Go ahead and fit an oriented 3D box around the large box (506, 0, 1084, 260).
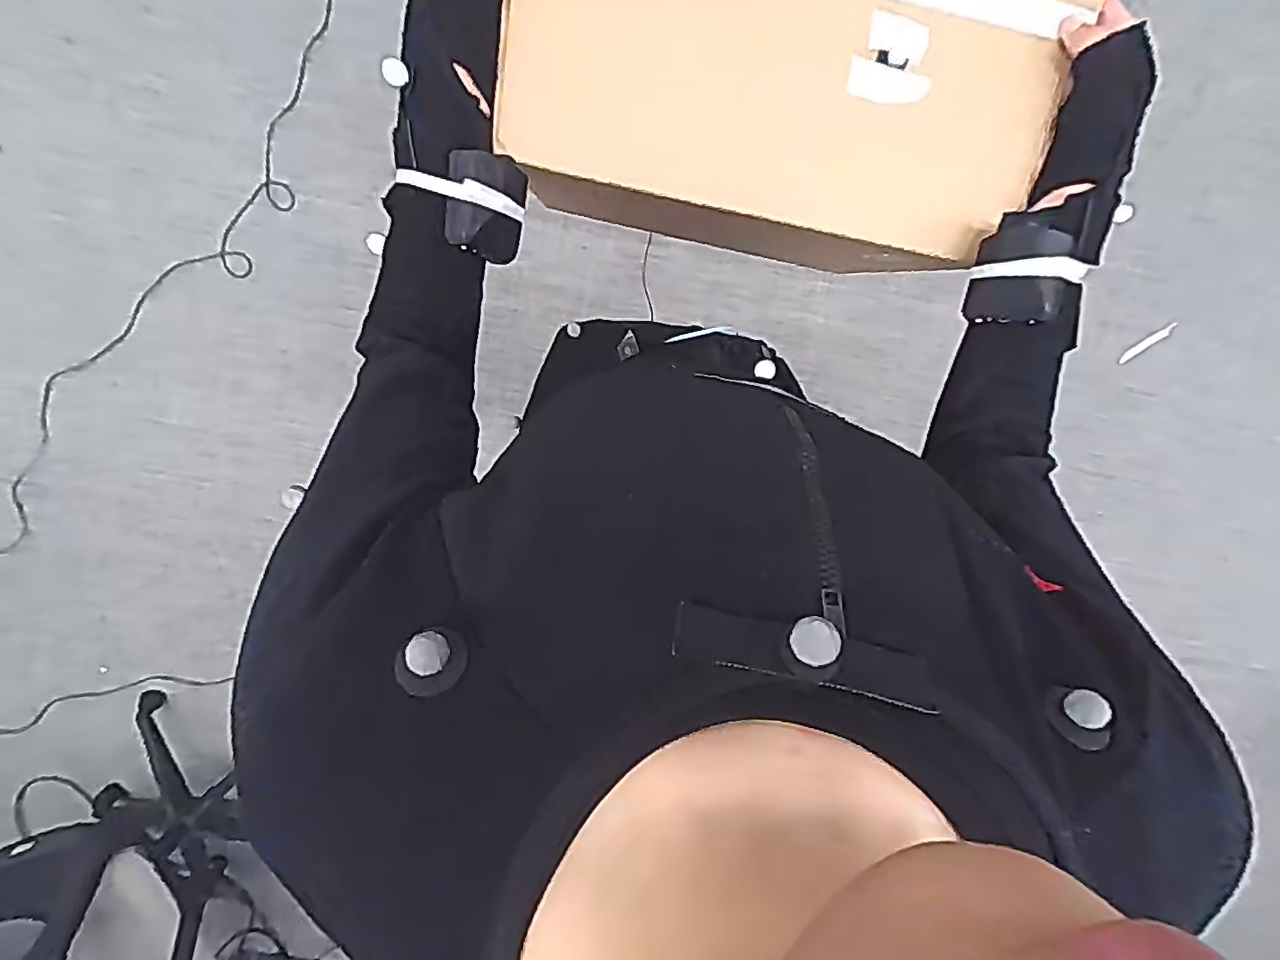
[{"bbox_3d":[0.109,-0.408,0.509,0.408,0.320,0.320,9,111,-7],"label":"large box"}]
